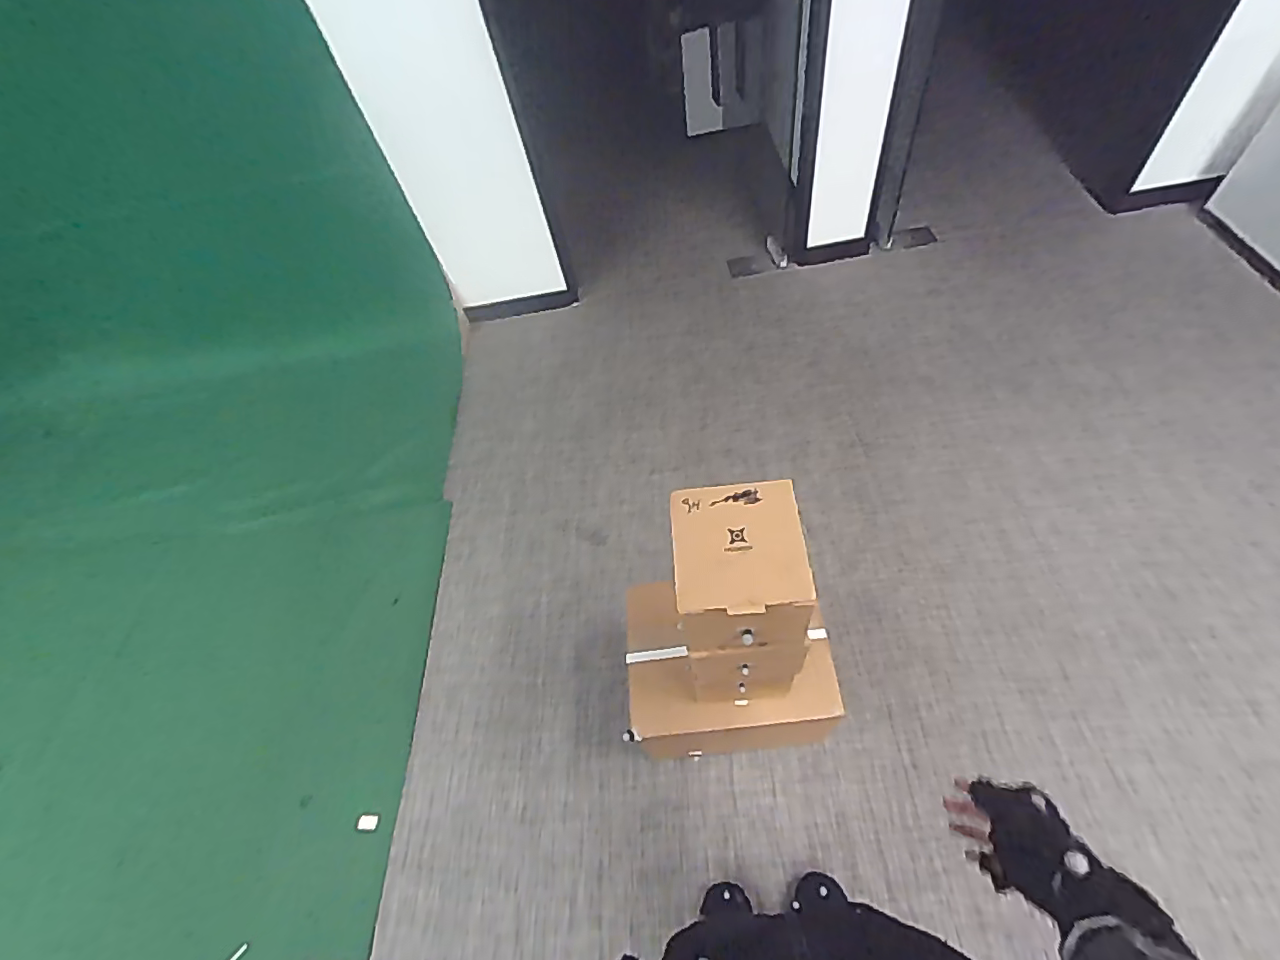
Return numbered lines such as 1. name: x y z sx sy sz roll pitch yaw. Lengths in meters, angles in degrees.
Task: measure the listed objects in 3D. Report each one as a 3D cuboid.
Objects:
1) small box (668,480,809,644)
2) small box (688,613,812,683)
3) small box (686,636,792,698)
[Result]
1. small box: 0.133 0.122 0.751 0.168 0.176 0.179 -6 57 8
2. small box: 0.161 0.219 0.881 0.179 0.176 0.168 -10 56 3
3. small box: 0.179 0.305 1.019 0.179 0.176 0.168 -7 57 5
